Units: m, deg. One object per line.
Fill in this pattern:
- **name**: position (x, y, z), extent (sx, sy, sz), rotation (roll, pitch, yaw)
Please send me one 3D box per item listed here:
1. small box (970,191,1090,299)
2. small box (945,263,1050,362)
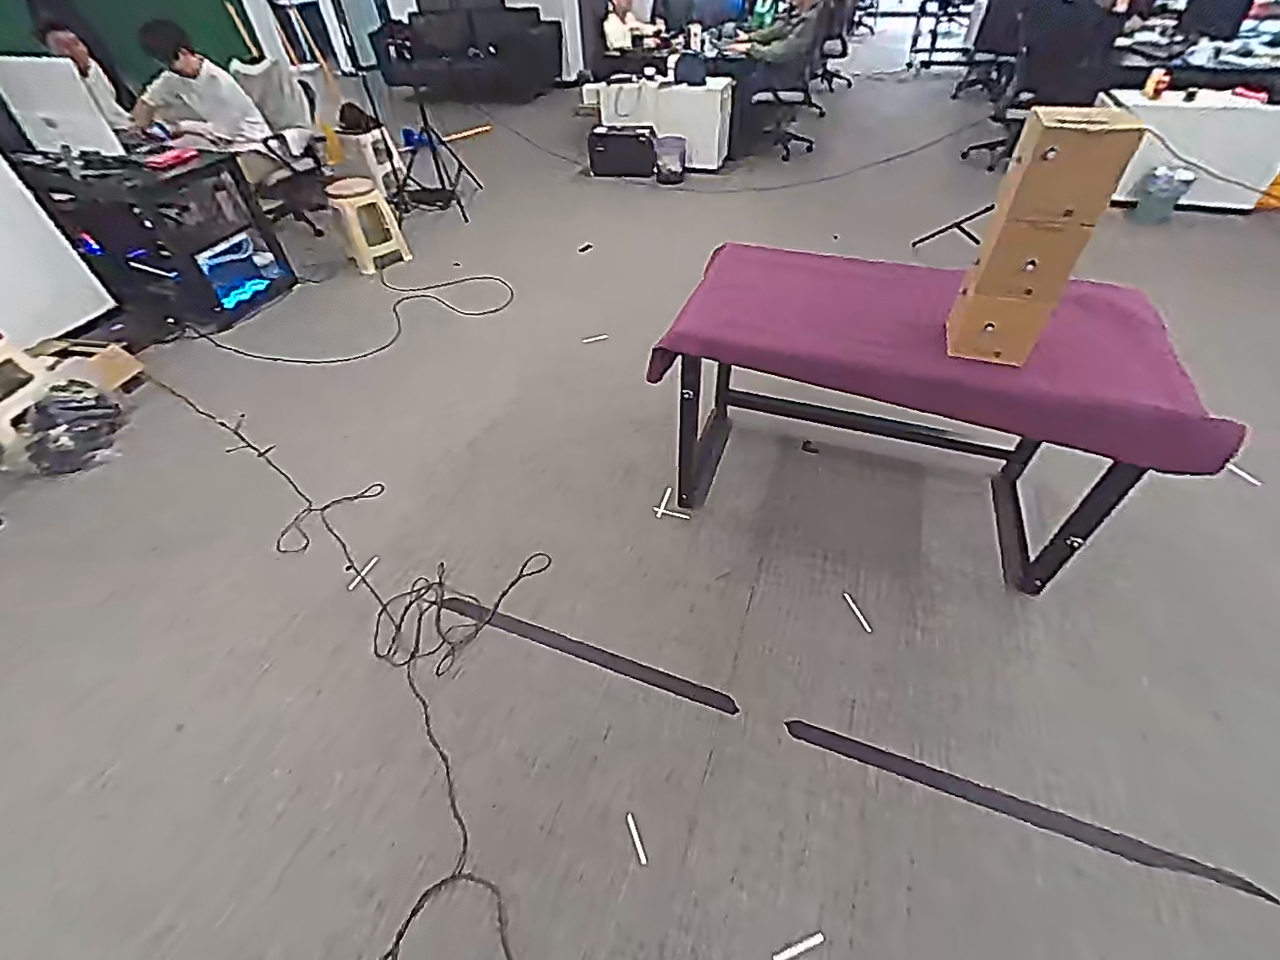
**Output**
- **small box**: position (0.865, -0.529, 1.218), extent (0.168, 0.176, 0.179), rotation (14, 48, 16)
- **small box**: position (0.869, -0.411, 1.332), extent (0.168, 0.176, 0.179), rotation (13, 47, 16)
